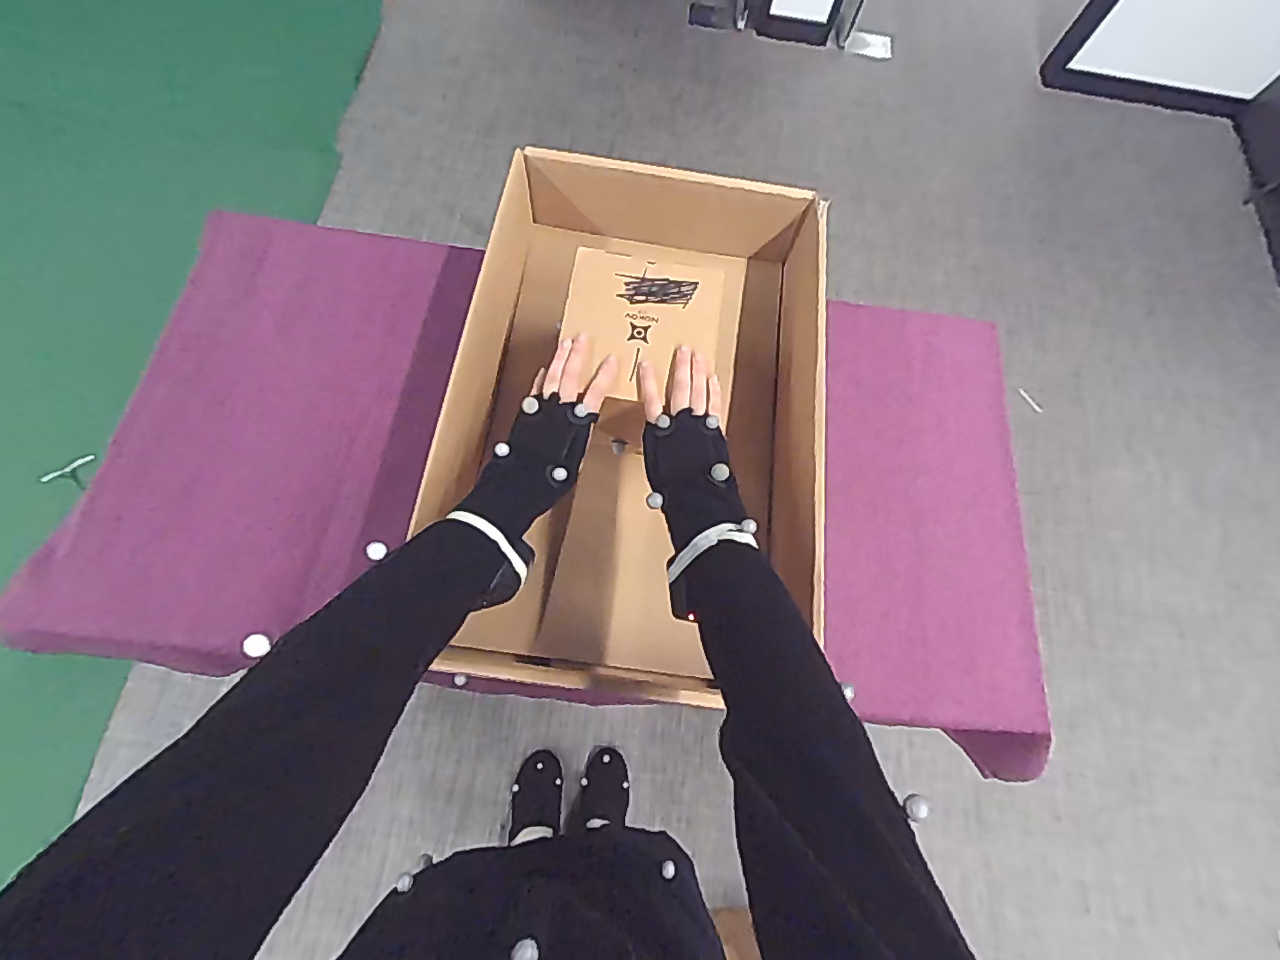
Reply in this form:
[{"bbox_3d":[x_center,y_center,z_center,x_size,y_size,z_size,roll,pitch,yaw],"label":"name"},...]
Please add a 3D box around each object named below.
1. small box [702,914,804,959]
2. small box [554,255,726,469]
[{"bbox_3d":[0.224,1.014,1.097,0.179,0.176,0.168,3,70,-5],"label":"small box"},{"bbox_3d":[-0.002,-0.130,0.646,0.168,0.176,0.179,9,73,-1],"label":"small box"}]
